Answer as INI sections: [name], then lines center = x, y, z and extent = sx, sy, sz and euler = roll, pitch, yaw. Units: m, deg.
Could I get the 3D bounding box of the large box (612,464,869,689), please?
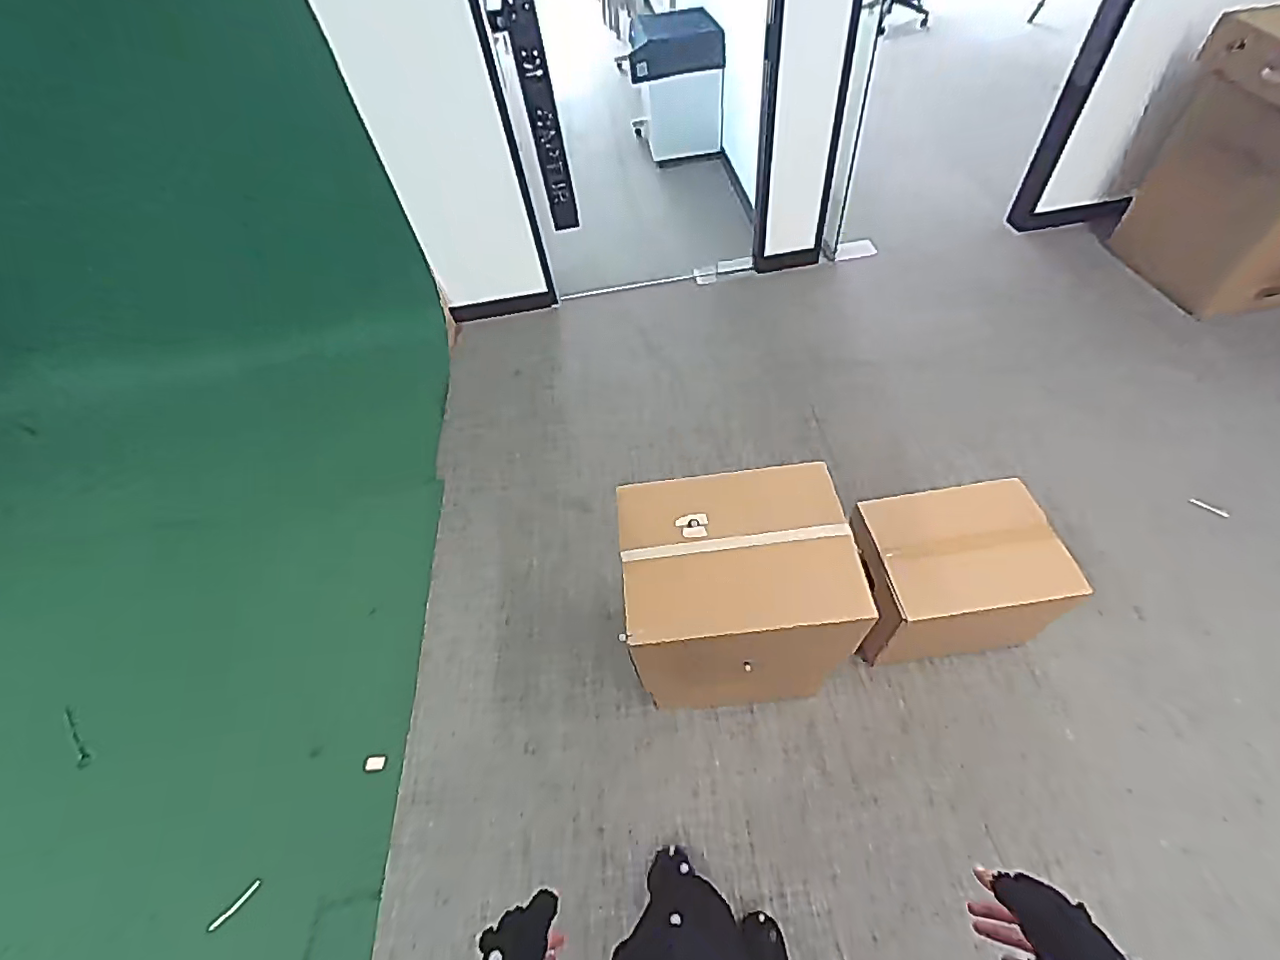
[large box]
center = 0.174, 0.202, 1.066
extent = 0.408, 0.320, 0.320
euler = -7, 55, 3
